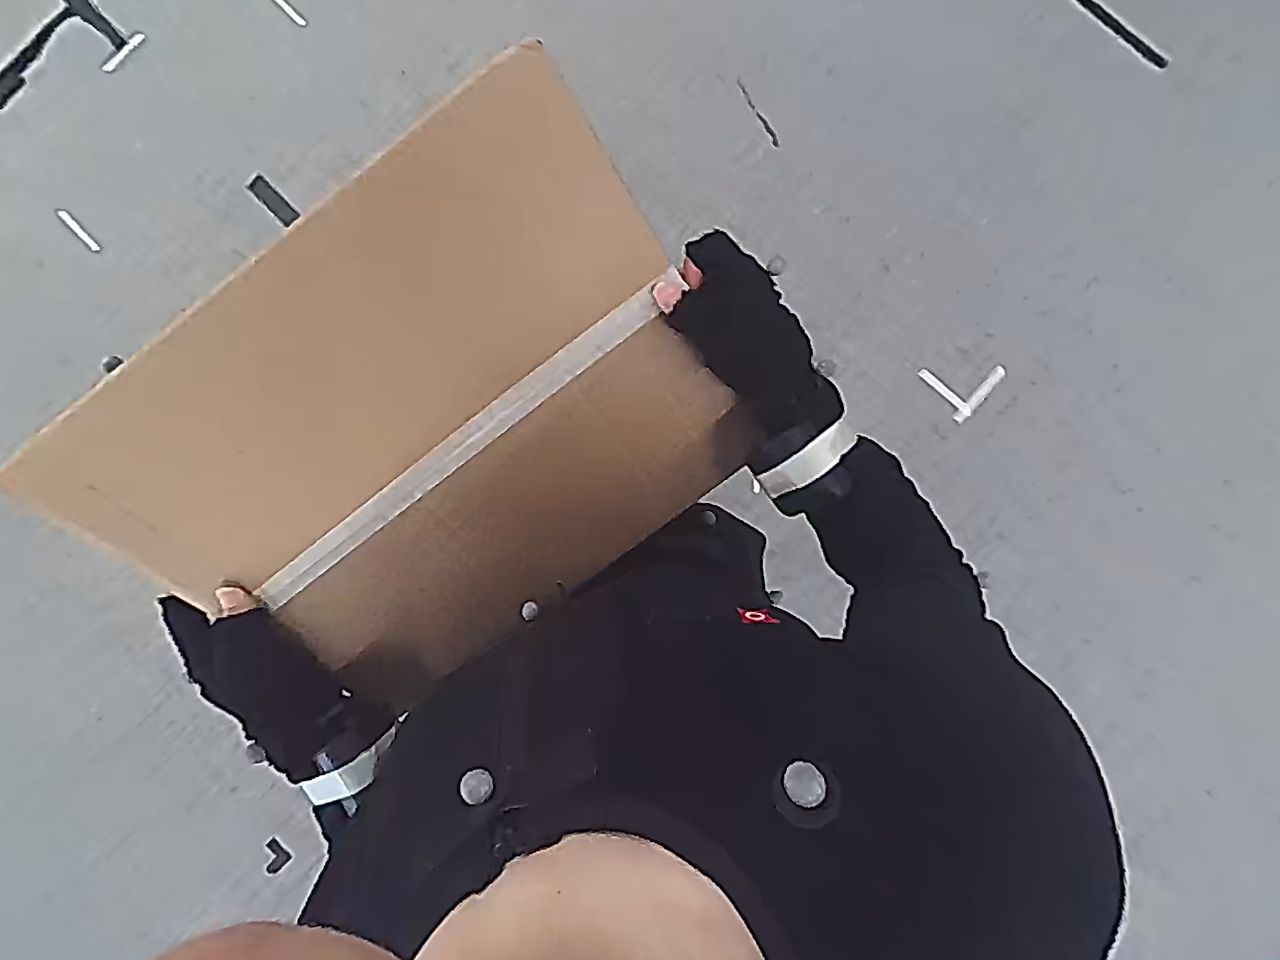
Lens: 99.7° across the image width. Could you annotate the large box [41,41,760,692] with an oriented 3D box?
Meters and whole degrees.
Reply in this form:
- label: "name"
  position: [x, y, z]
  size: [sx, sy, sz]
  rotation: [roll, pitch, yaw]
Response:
- label: "large box"
  position: [-0.174, -0.092, 0.522]
  size: [0.408, 0.320, 0.320]
  rotation: [-36, 121, 4]
